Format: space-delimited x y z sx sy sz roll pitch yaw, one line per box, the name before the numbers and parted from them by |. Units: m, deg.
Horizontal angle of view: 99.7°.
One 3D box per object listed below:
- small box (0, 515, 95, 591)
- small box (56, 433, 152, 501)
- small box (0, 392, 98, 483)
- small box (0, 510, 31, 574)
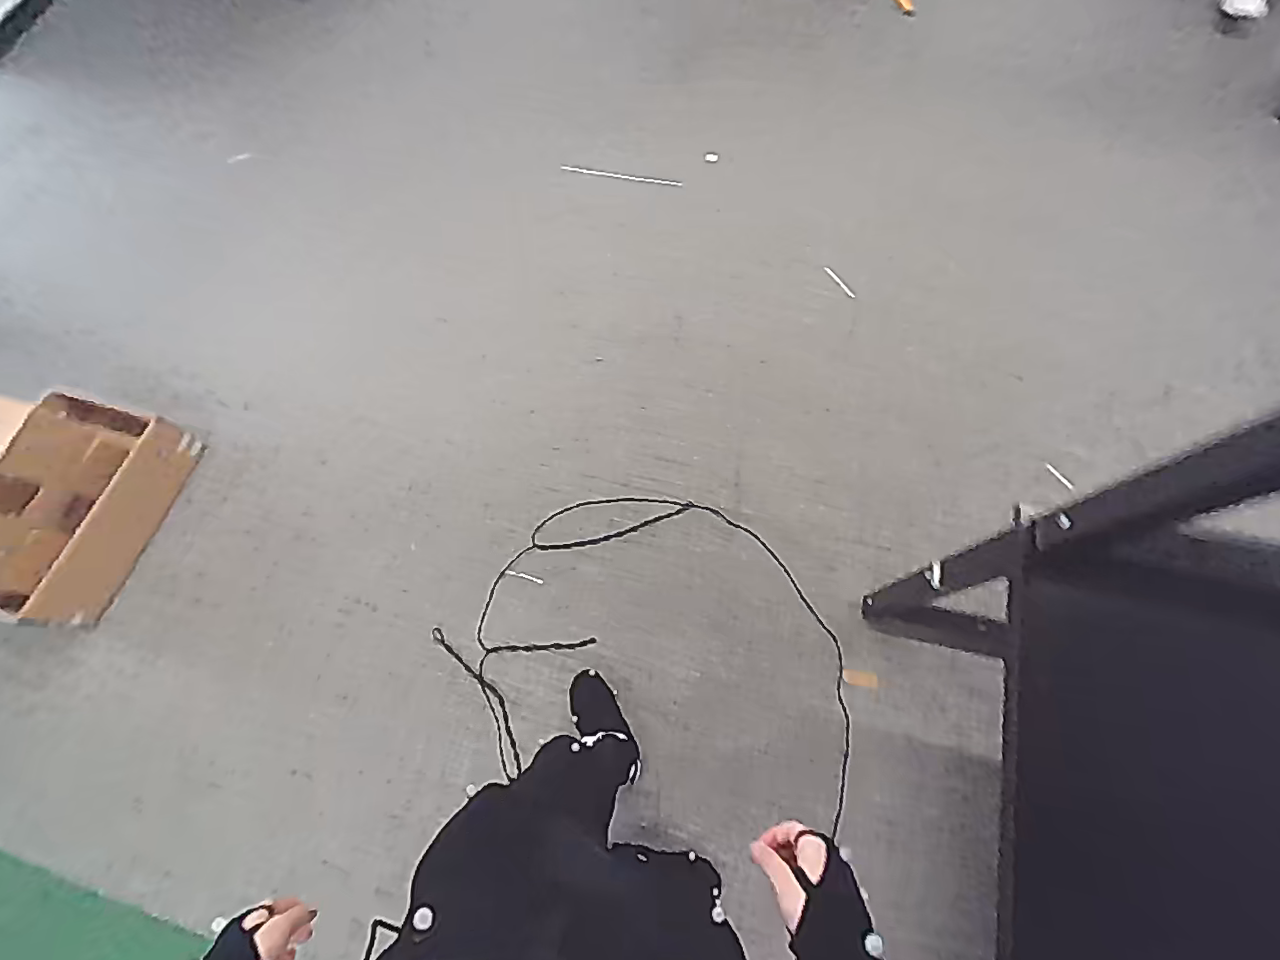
small box | -1.690 0.200 1.490 0.179 0.176 0.168 15 70 9
small box | -1.603 -0.052 1.581 0.179 0.176 0.168 17 71 10
small box | -1.612 -0.109 1.427 0.168 0.176 0.179 13 70 7
small box | -1.694 0.140 1.337 0.168 0.176 0.179 14 69 9
